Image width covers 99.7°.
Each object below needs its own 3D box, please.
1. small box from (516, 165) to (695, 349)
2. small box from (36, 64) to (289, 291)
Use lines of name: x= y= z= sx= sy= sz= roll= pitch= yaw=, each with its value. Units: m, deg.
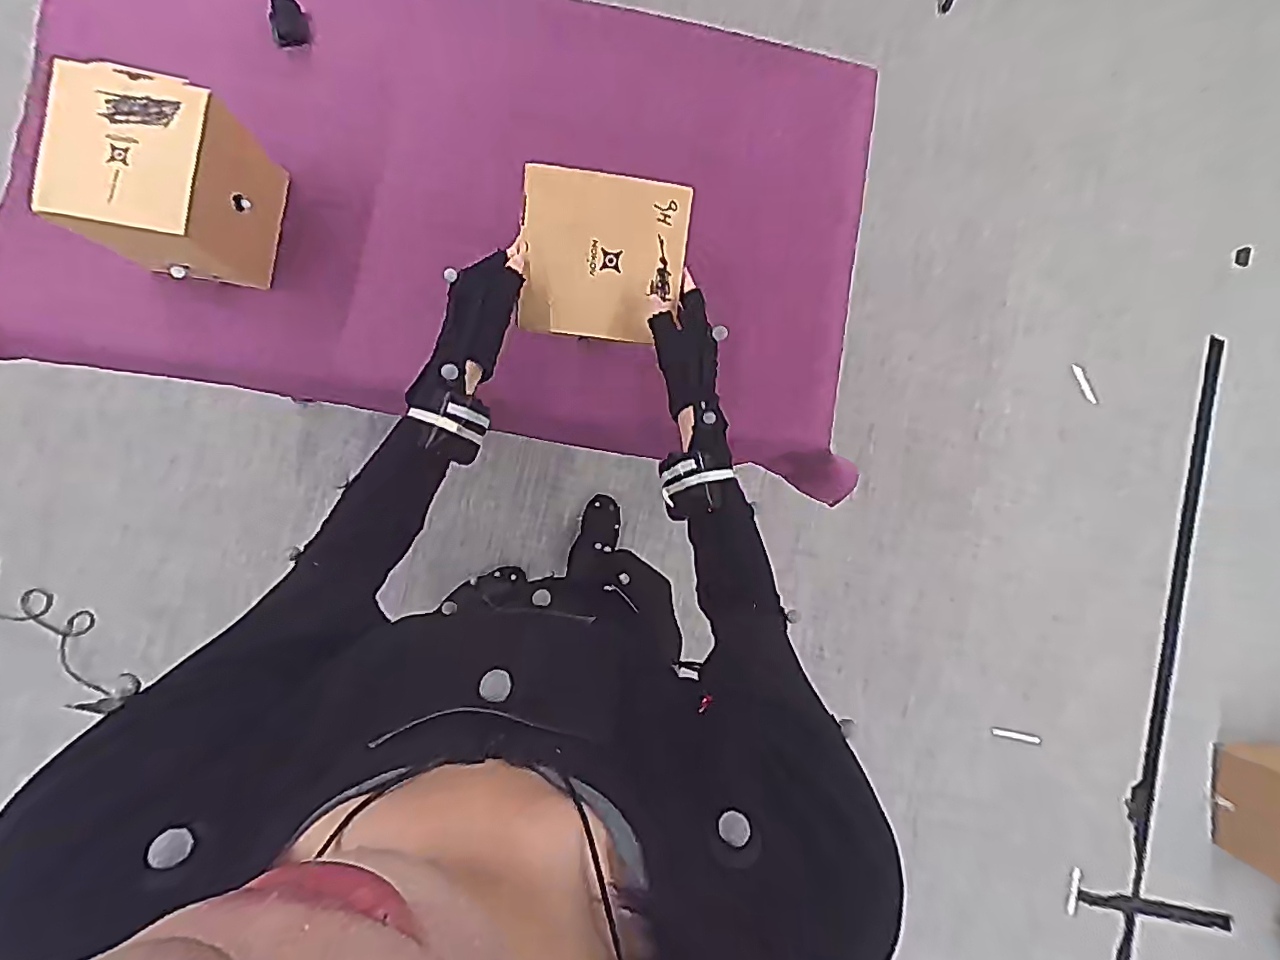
small box: x=-0.043 y=-0.250 z=0.647 sx=0.179 sy=0.176 sz=0.168 roll=6 pitch=103 yaw=-5
small box: x=-0.587 y=-0.370 z=0.692 sx=0.168 sy=0.176 sz=0.179 roll=9 pitch=88 yaw=-5
